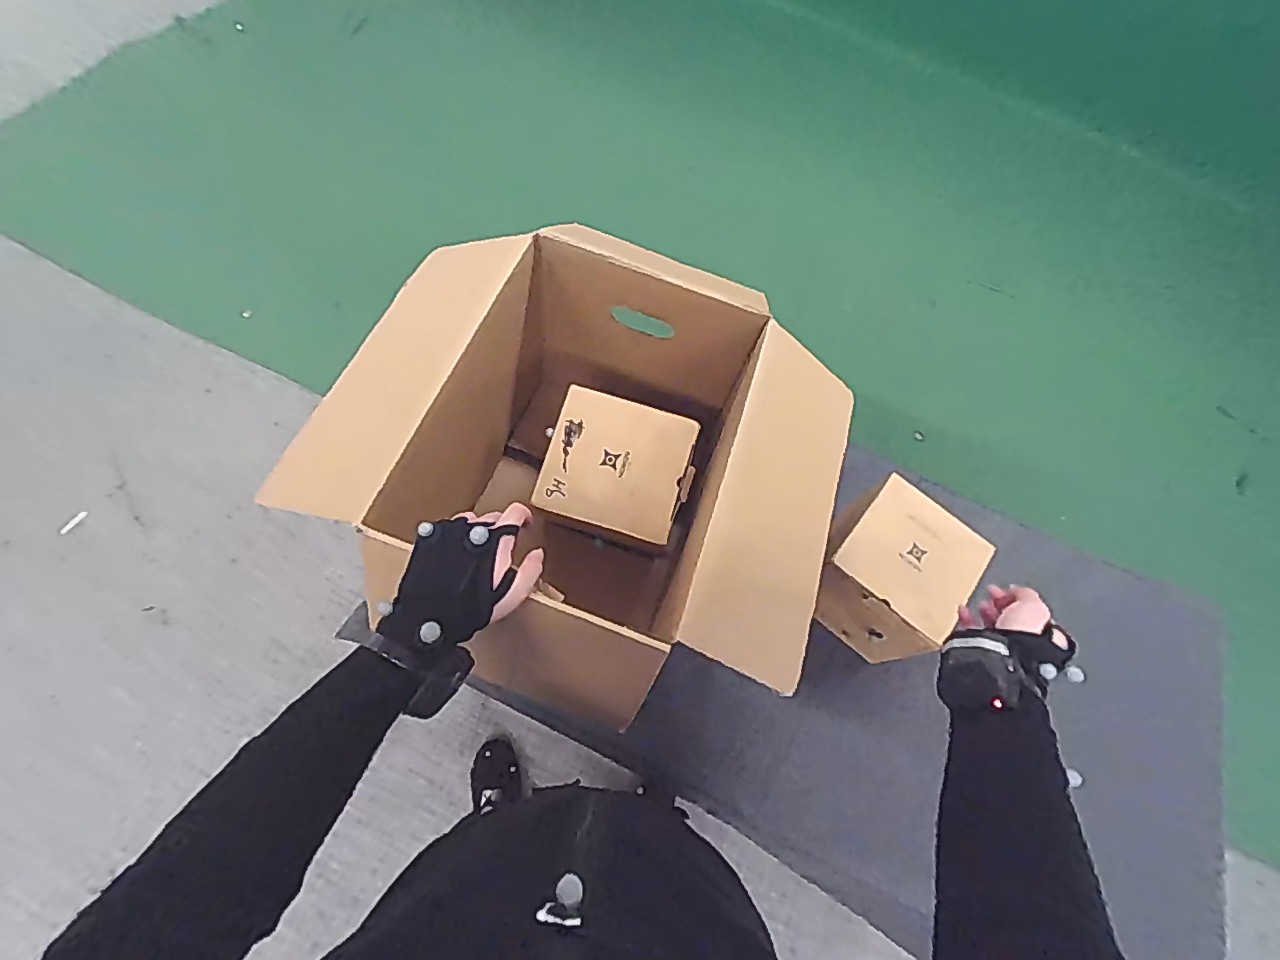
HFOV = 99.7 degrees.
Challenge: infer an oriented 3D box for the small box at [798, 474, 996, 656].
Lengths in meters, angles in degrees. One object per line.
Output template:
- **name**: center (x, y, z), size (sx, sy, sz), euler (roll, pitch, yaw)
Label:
- **small box**: center (0.353, 0.131, 0.779), size (0.168, 0.176, 0.179), euler (40, 66, 9)
